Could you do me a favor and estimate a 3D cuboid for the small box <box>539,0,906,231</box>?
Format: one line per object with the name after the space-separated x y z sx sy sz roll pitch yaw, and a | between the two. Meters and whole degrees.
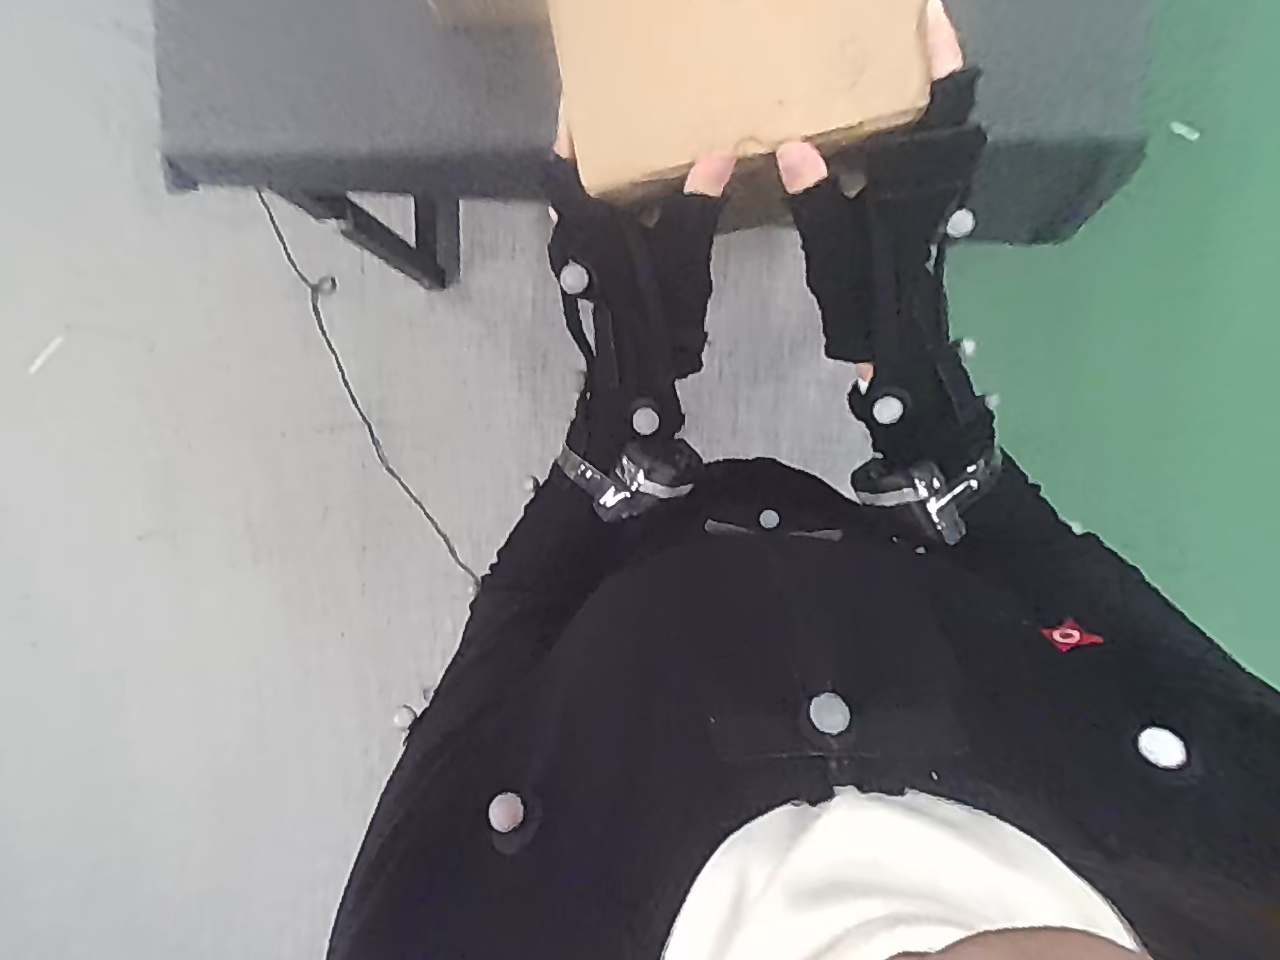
0.039 -0.263 0.322 0.168 0.176 0.179 -9 101 7 | small box
